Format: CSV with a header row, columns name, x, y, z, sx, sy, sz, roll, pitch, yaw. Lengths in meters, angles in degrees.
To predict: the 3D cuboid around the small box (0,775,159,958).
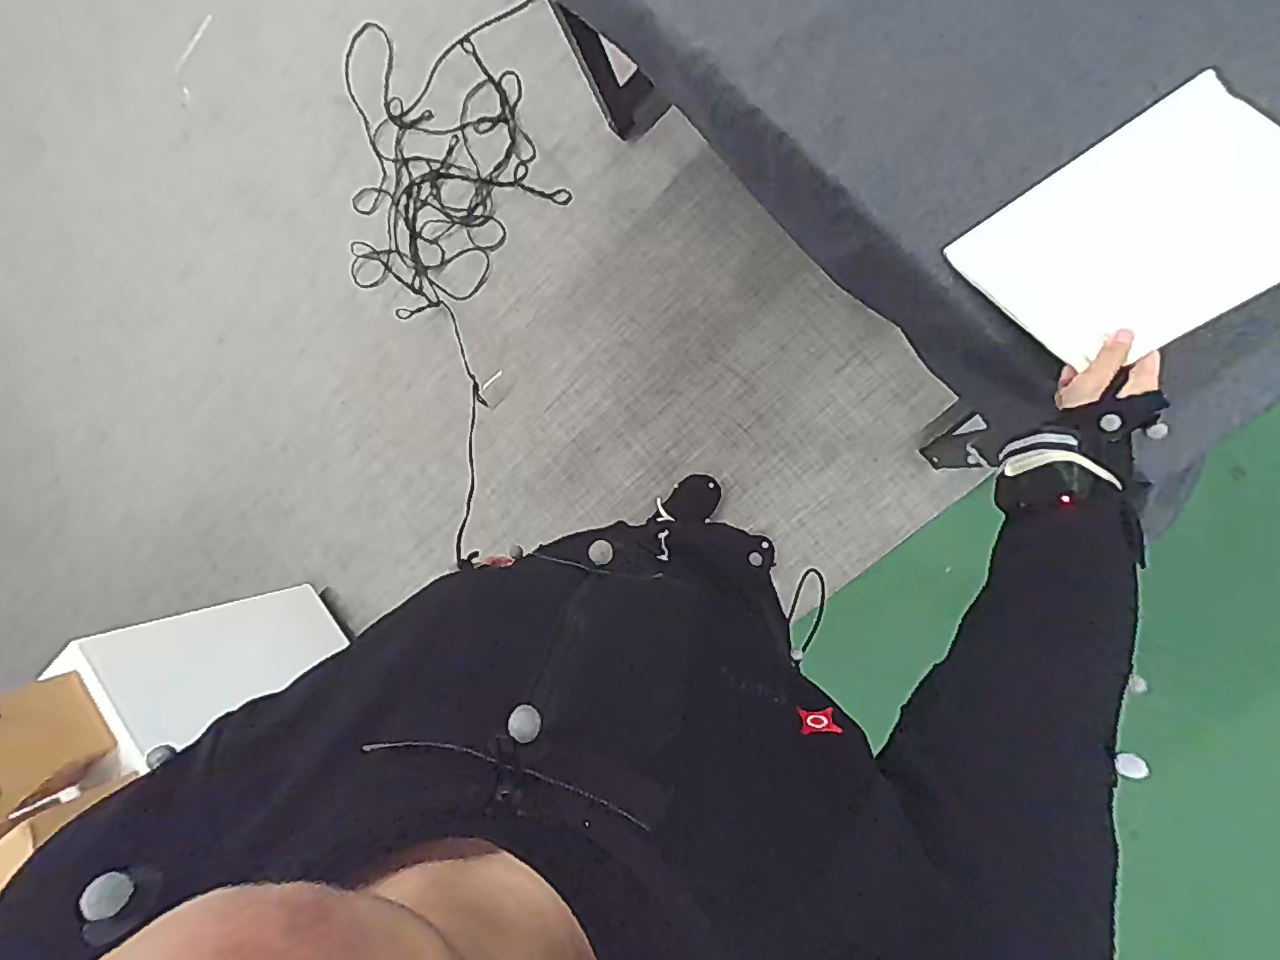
name,x,y,z,sx,sy,sz,roll,pitch,yaw
small box,-0.992,0.656,0.938,0.179,0.176,0.168,-37,81,13
